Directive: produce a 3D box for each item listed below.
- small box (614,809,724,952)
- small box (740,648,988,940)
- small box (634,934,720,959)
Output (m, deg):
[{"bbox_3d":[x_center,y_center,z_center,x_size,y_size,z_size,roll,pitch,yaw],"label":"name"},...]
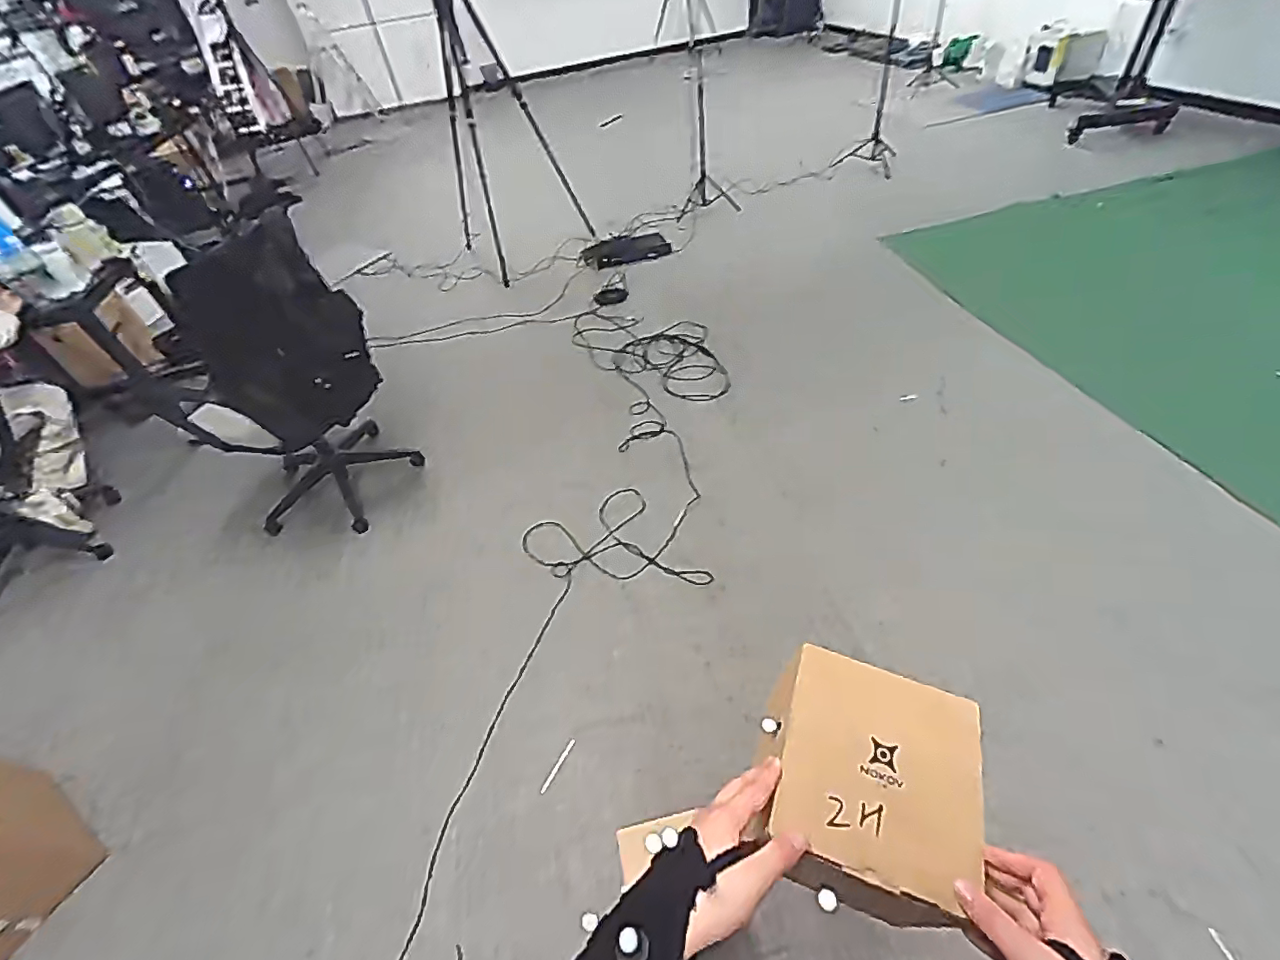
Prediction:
[{"bbox_3d":[0.056,0.748,1.005,0.168,0.176,0.179,-13,44,-3],"label":"small box"},{"bbox_3d":[0.205,0.300,0.521,0.168,0.176,0.179,18,52,13],"label":"small box"},{"bbox_3d":[0.065,0.865,1.120,0.168,0.176,0.179,-13,45,-3],"label":"small box"}]
